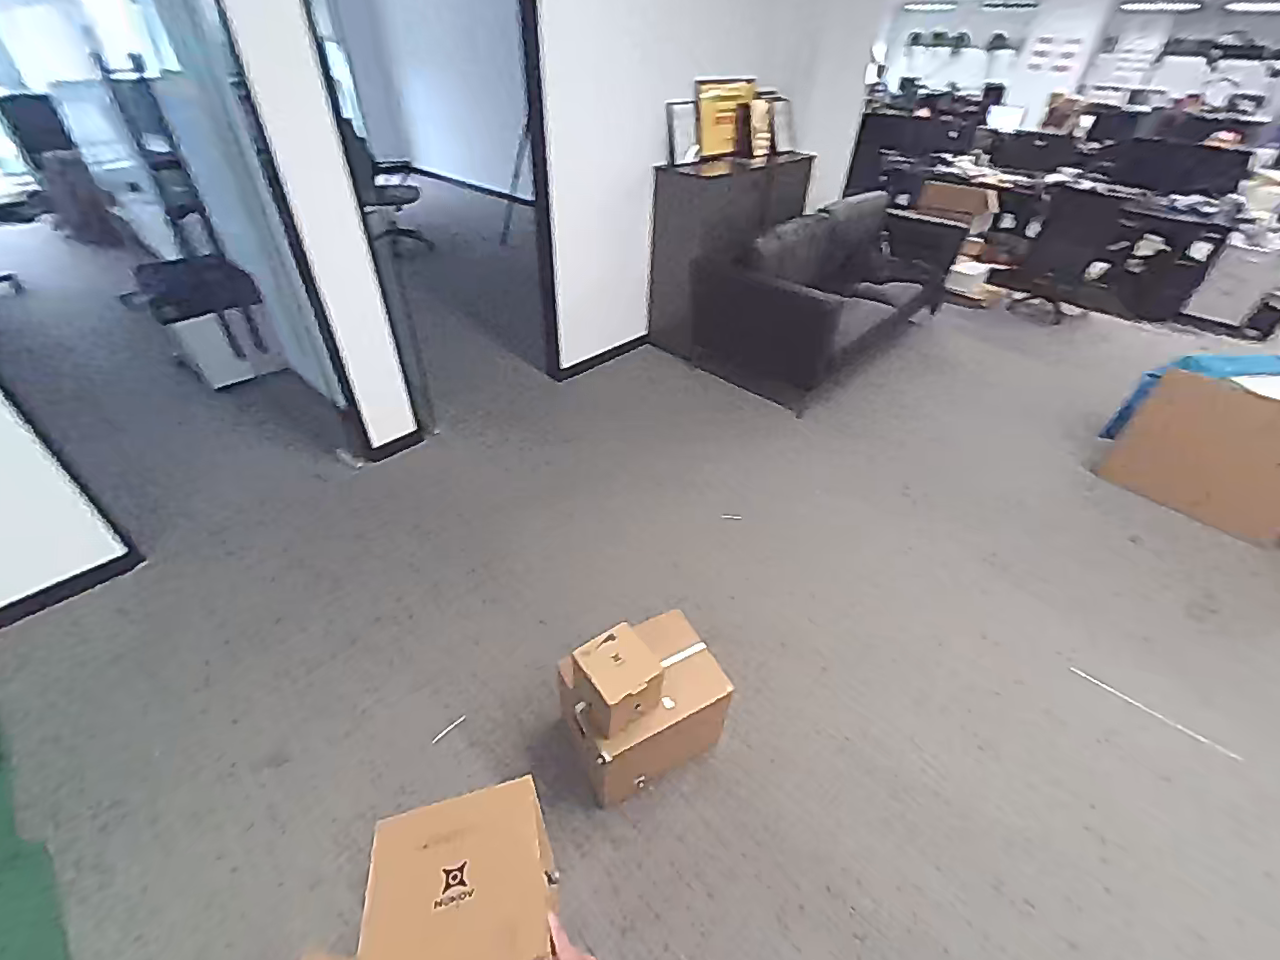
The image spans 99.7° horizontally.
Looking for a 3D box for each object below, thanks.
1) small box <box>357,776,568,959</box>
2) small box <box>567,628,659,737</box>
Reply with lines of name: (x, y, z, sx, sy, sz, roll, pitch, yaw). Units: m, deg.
small box: (-0.167, 0.450, 0.549, 0.168, 0.176, 0.179, -10, 28, -12)
small box: (-0.071, 0.520, 1.374, 0.168, 0.176, 0.179, -23, 47, -30)
